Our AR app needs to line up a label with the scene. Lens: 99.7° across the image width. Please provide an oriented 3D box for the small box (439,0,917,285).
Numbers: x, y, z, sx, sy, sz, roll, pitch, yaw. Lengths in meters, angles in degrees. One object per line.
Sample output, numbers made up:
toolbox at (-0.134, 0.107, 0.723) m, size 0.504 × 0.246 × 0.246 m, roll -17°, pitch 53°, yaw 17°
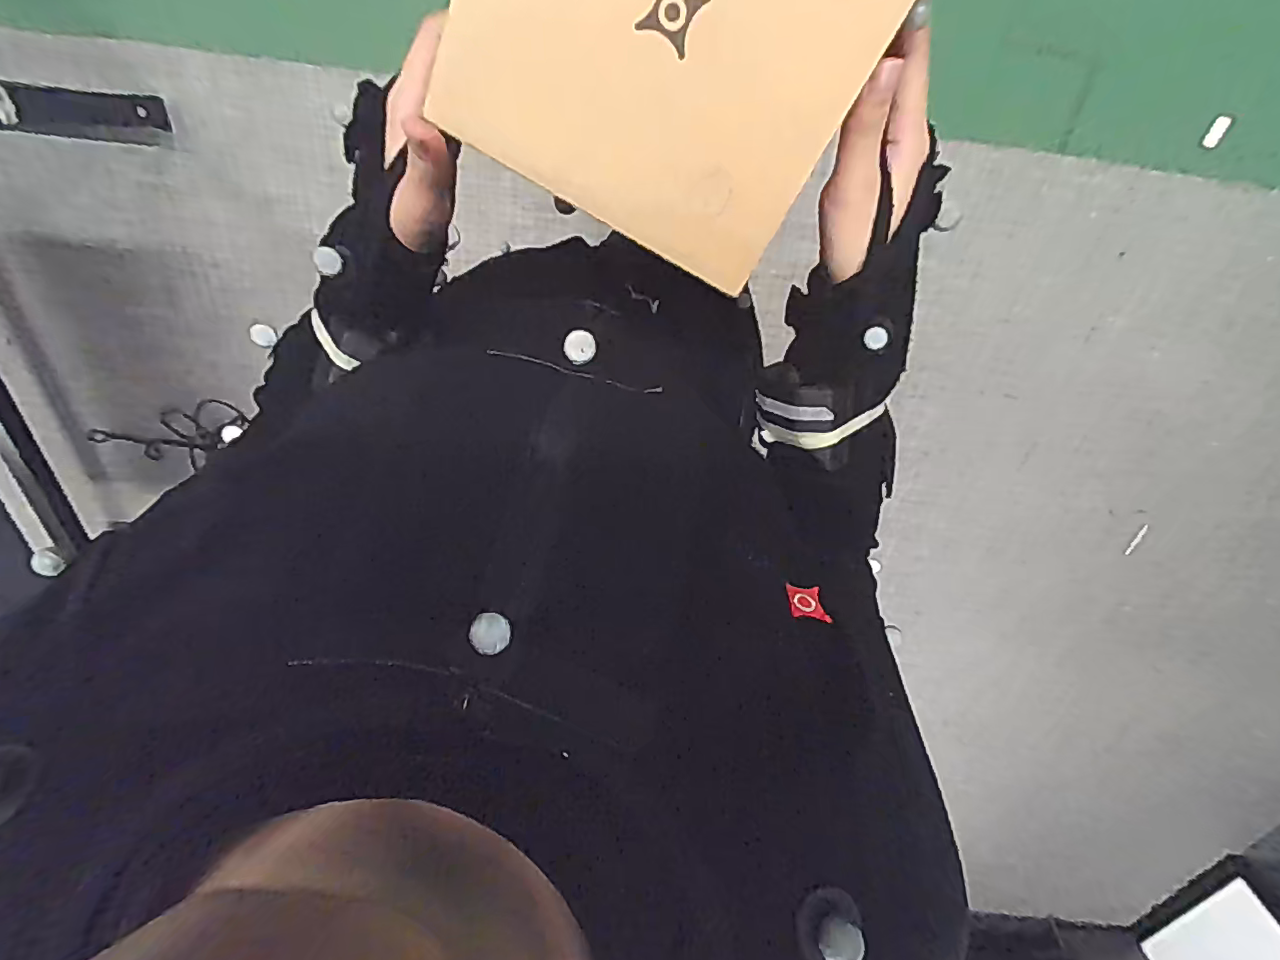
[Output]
small box at (0.025, -0.234, 0.284) m, size 0.168 × 0.176 × 0.179 m, roll 25°, pitch 118°, yaw -10°
